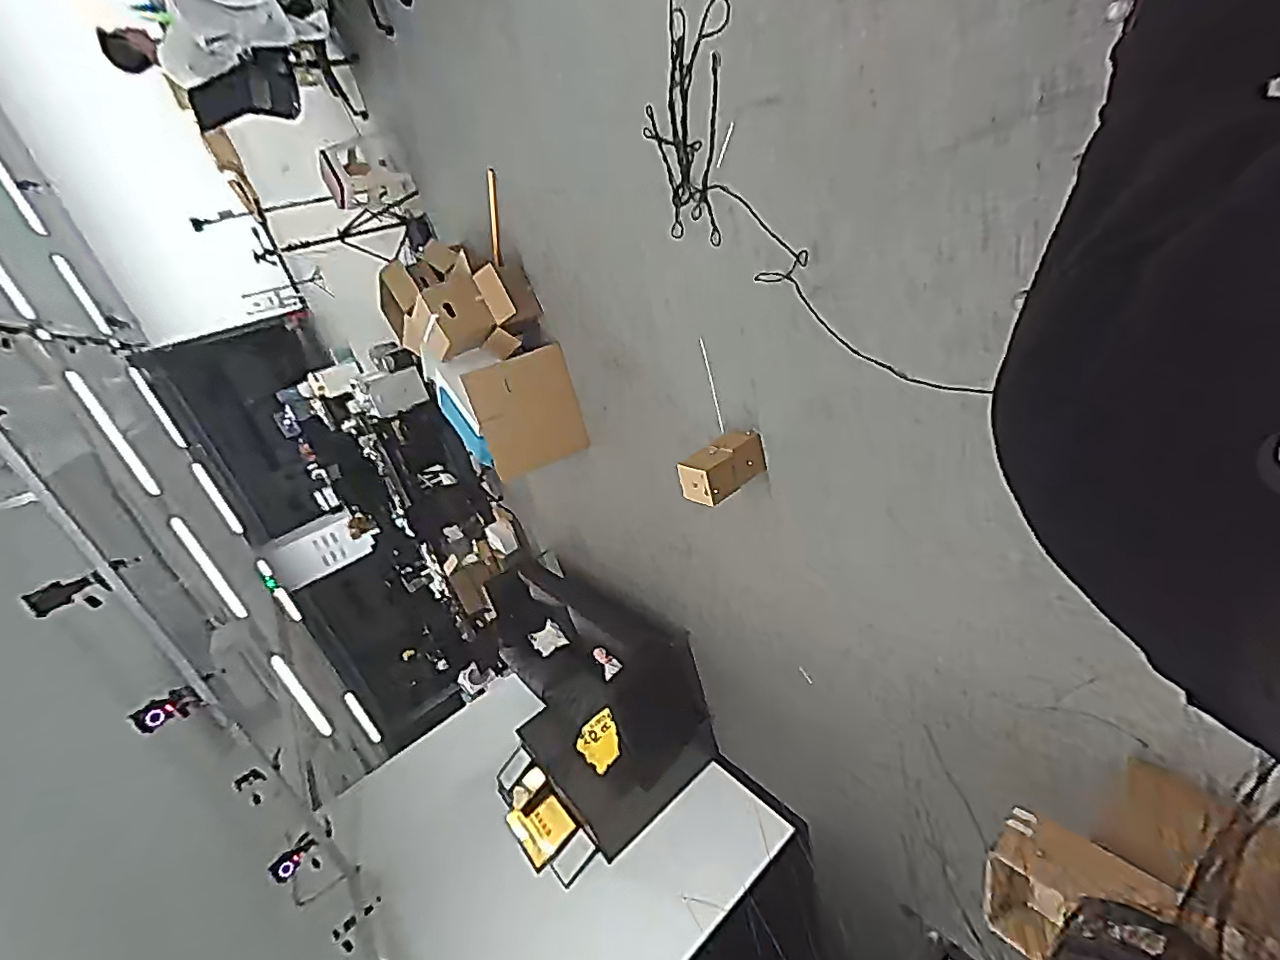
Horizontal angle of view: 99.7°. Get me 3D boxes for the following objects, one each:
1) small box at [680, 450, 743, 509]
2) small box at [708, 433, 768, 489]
[{"bbox_3d":[0.293,-0.008,2.213,0.179,0.176,0.168,20,133,52],"label":"small box"},{"bbox_3d":[0.416,-0.086,2.288,0.168,0.176,0.179,18,131,52],"label":"small box"}]
